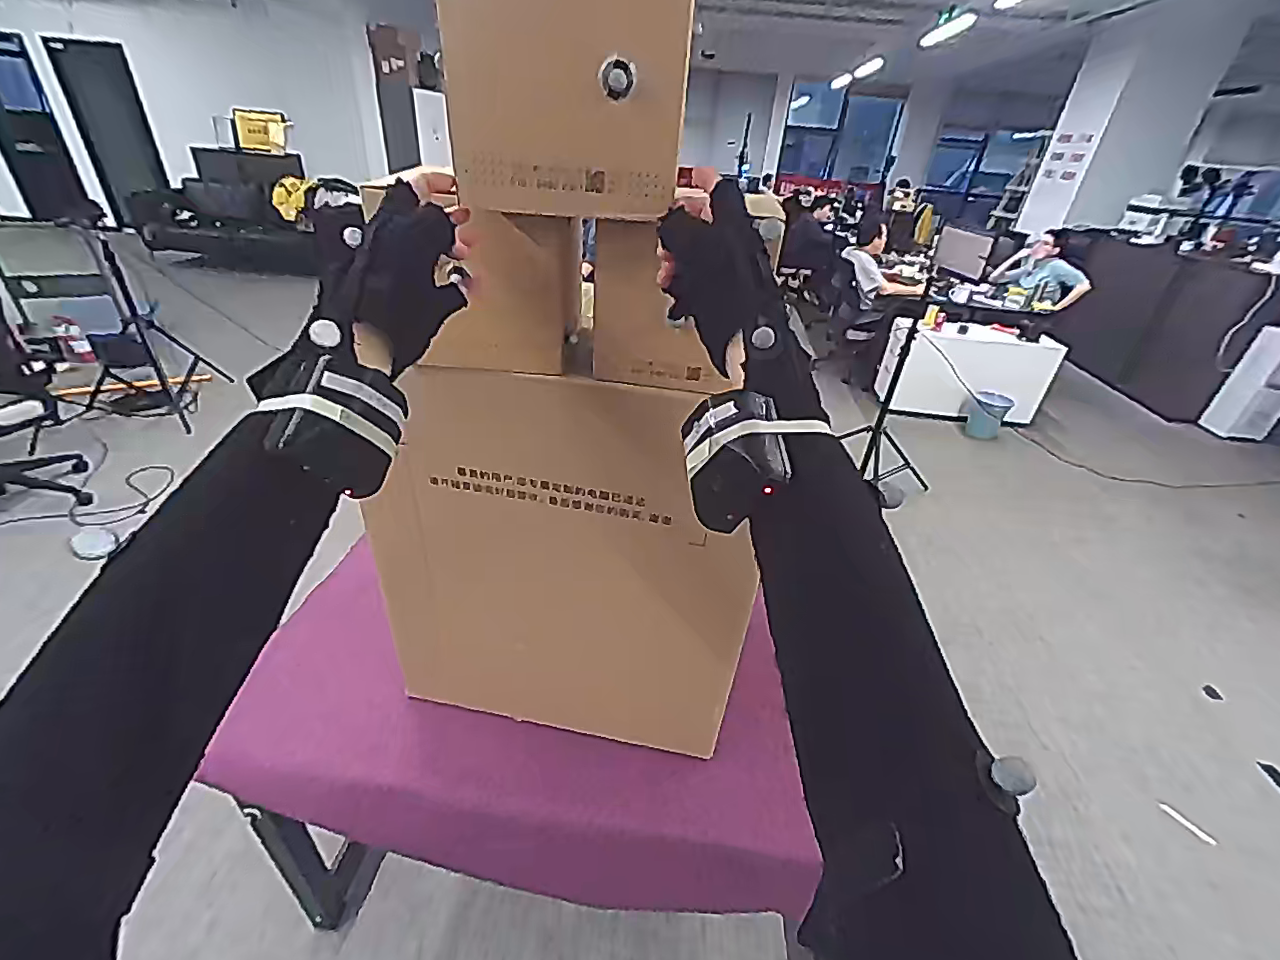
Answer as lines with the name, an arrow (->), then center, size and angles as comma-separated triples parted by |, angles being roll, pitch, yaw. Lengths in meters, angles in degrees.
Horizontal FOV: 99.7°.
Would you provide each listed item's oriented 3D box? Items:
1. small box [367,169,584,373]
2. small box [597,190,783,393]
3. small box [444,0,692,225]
small box -> -0.155, -0.226, 0.585 | 0.179, 0.176, 0.168 | 4, 35, 0
small box -> 0.051, -0.207, 0.583 | 0.168, 0.176, 0.179 | 8, 35, 4
small box -> -0.050, -0.317, 0.443 | 0.168, 0.176, 0.179 | 3, 35, -4
